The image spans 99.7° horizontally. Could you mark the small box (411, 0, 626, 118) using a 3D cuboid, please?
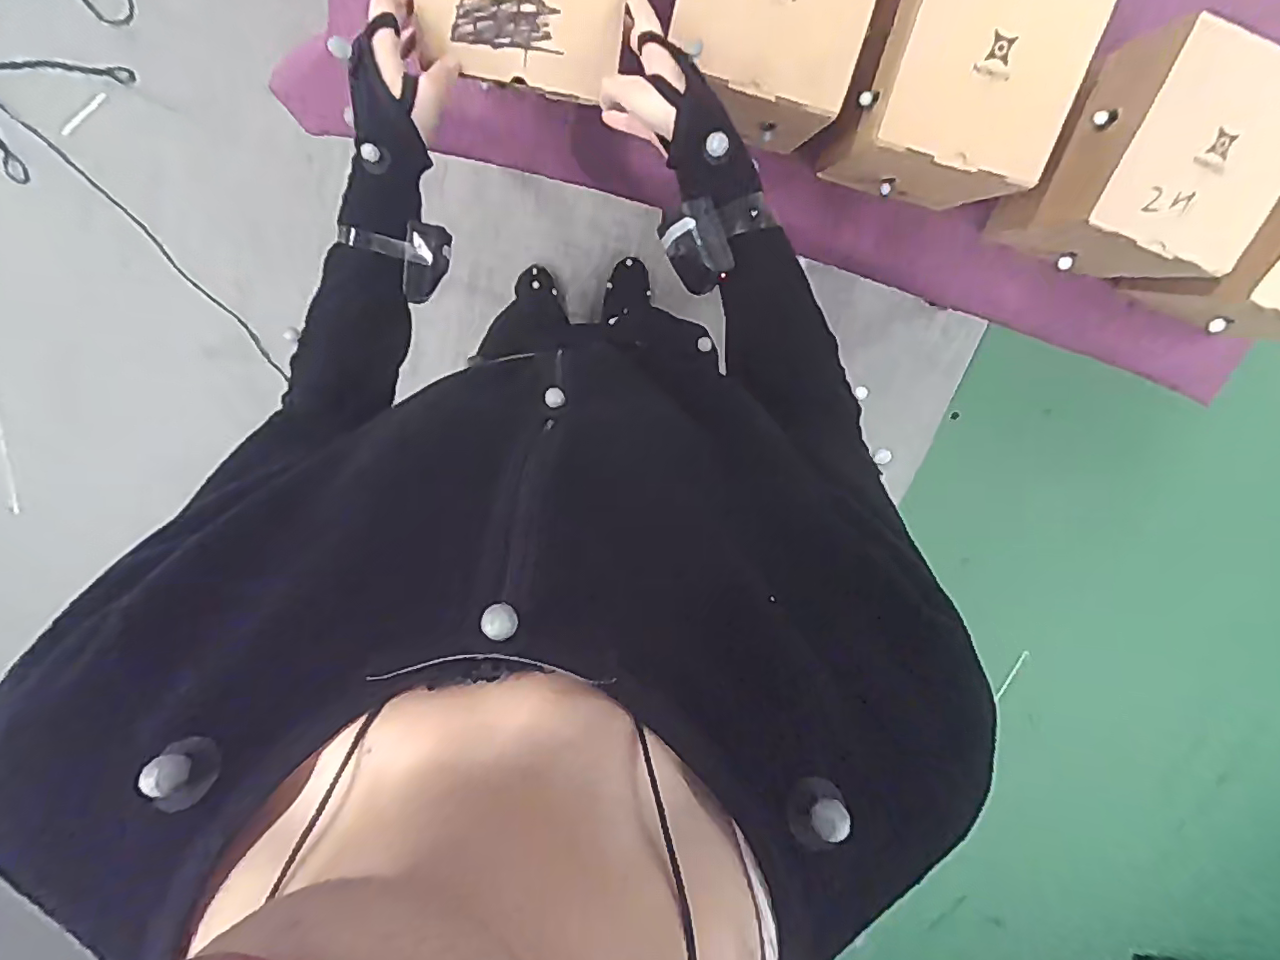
[{"bbox_3d":[-0.094,-0.441,0.472,0.168,0.176,0.179,6,127,-8],"label":"small box"}]
